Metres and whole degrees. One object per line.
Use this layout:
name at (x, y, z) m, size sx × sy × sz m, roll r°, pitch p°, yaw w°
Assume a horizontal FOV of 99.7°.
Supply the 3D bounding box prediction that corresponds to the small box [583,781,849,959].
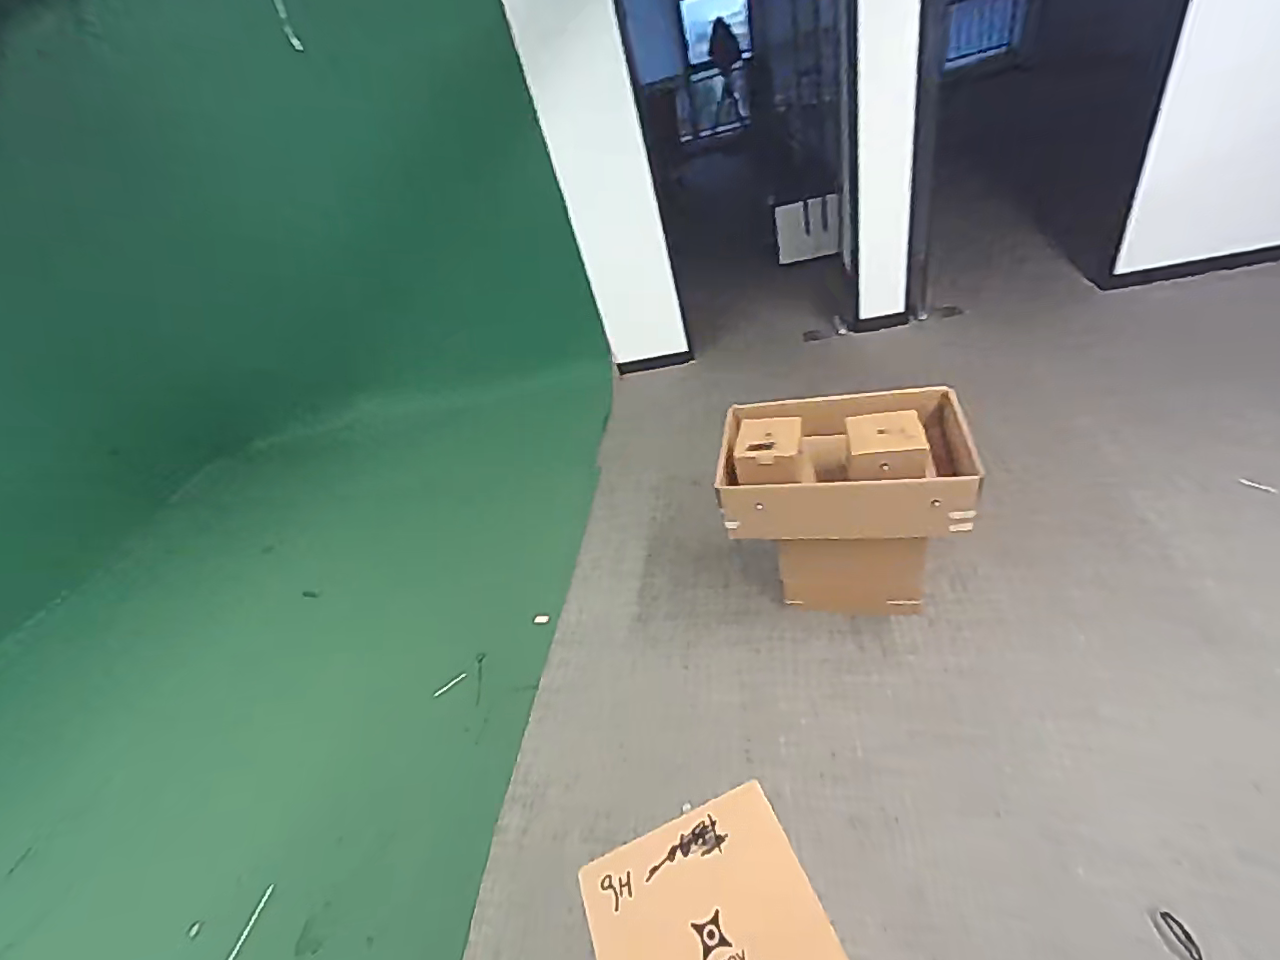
small box at (0.072, 0.388, 0.437) m, size 0.168 × 0.176 × 0.179 m, roll -22°, pitch 43°, yaw -7°
